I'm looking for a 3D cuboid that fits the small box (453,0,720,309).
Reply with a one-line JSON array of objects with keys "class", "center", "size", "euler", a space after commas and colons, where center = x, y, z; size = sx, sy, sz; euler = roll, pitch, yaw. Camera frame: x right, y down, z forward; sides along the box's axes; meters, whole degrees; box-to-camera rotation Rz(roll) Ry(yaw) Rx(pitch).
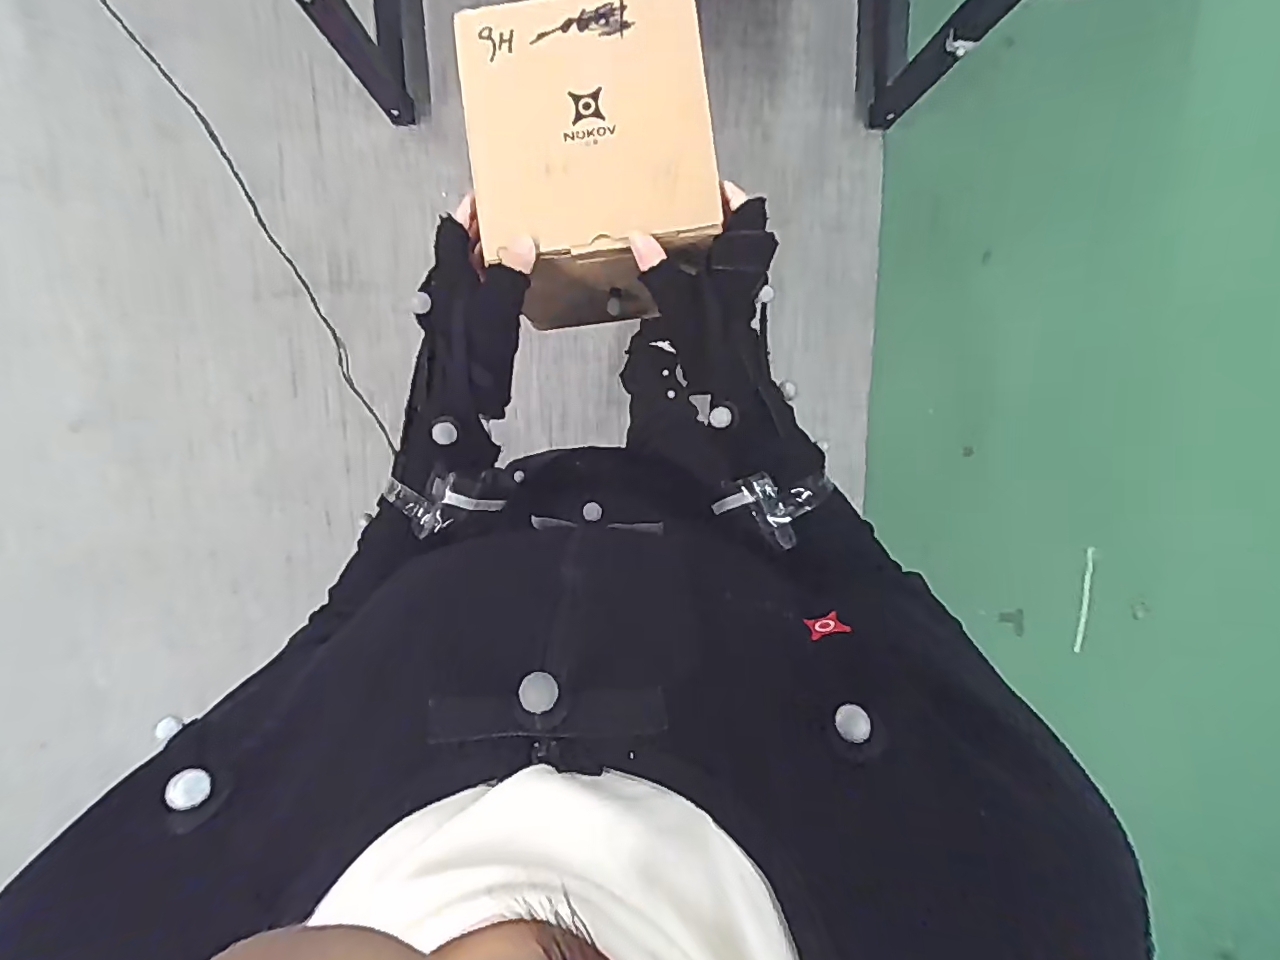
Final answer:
[{"class": "small box", "center": [-0.032, -0.249, 0.439], "size": [0.168, 0.176, 0.179], "euler": [-7, 91, 2]}]
